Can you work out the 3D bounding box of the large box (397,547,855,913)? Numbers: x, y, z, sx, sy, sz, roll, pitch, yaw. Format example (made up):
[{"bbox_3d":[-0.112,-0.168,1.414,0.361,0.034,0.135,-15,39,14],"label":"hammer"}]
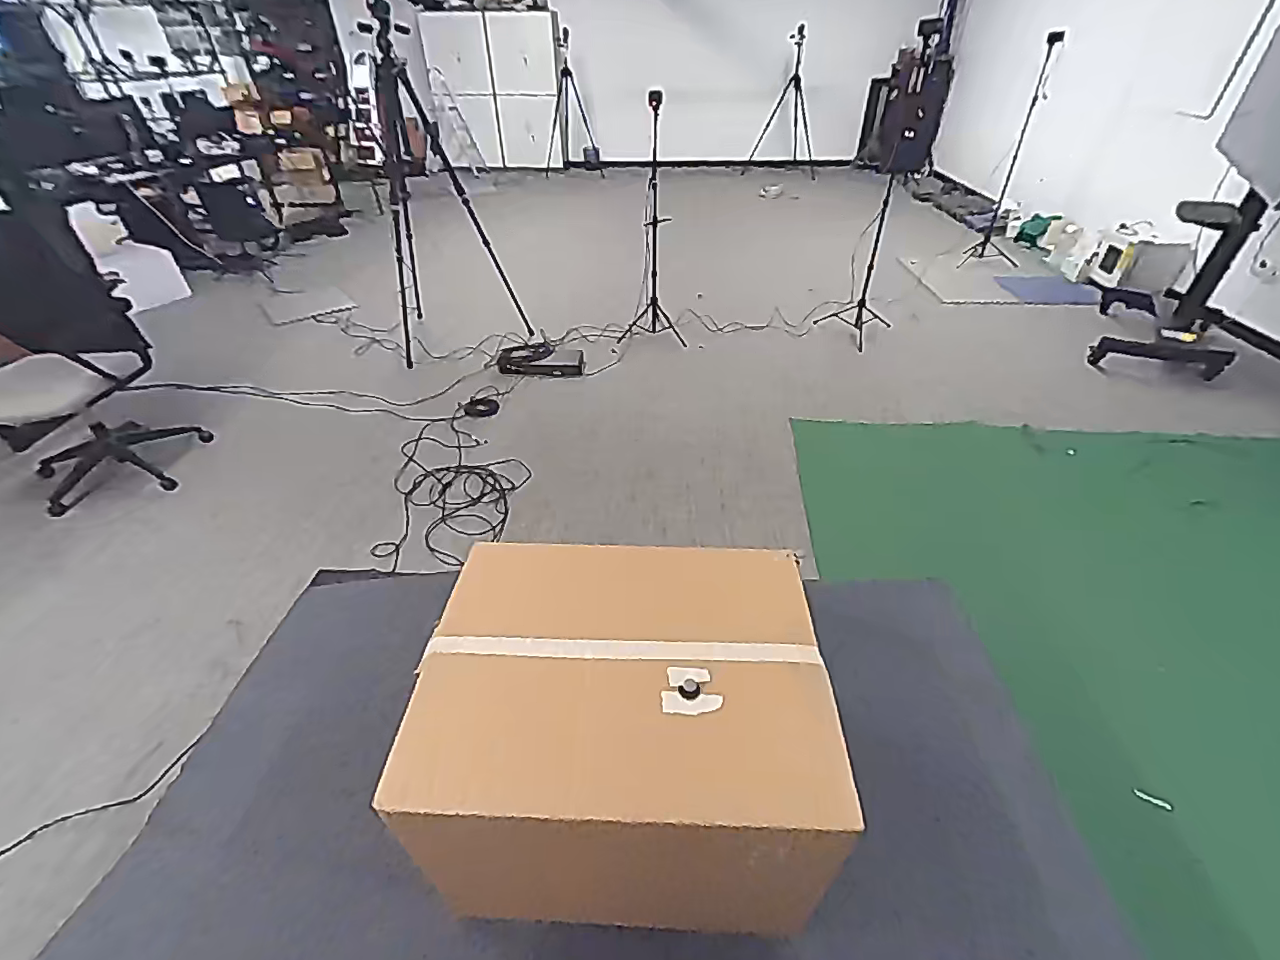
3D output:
[{"bbox_3d":[-0.011,0.299,0.667,0.408,0.320,0.320,1,39,2],"label":"large box"}]
